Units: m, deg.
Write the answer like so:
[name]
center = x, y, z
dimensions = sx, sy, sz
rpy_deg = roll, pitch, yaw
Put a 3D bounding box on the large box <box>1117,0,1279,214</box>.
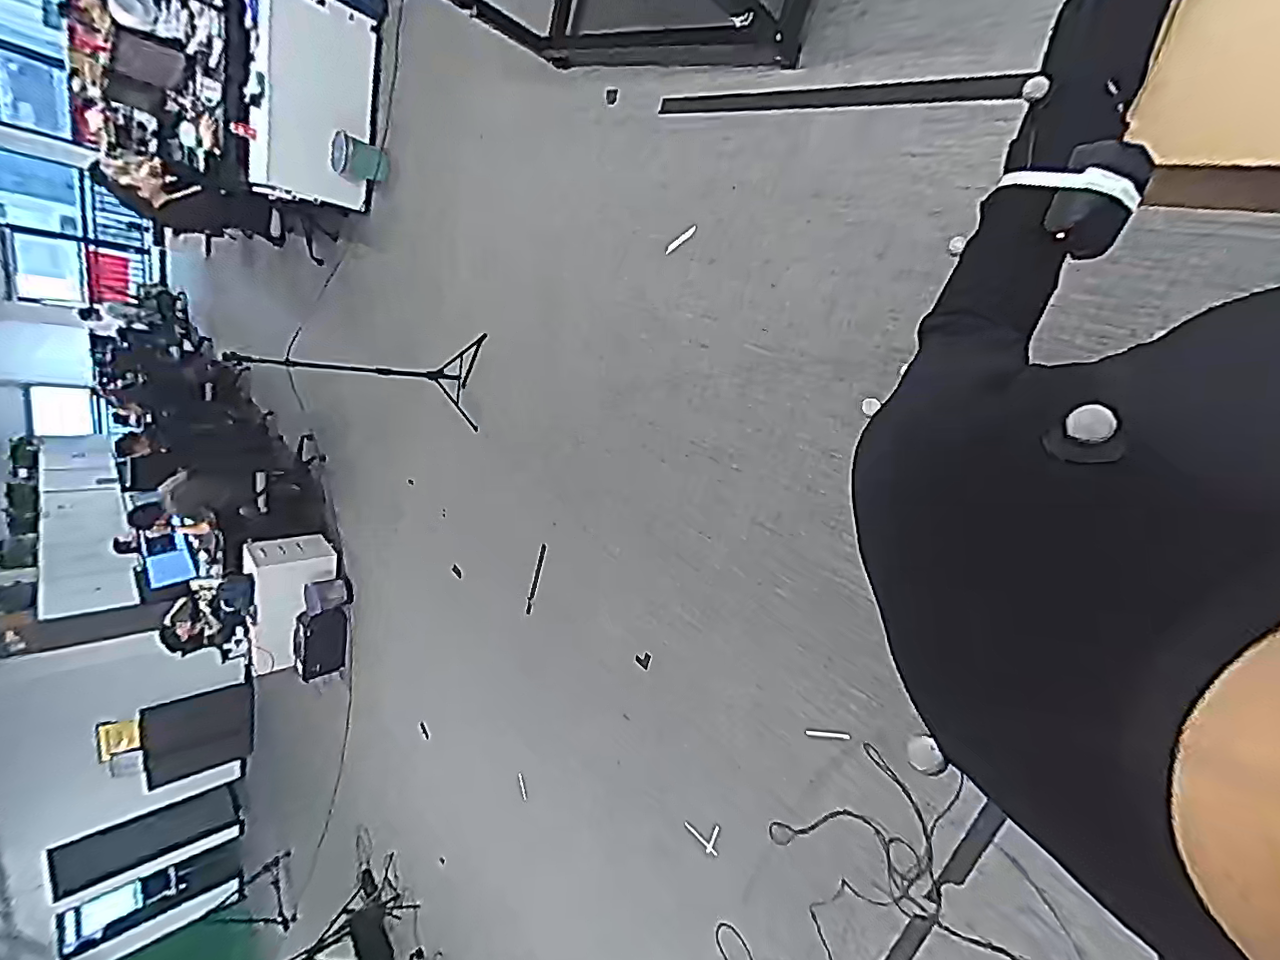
[large box]
center = 0.622, -0.350, 0.346
dimensions = 0.408, 0.320, 0.320
rpy_deg = 25, 122, 35
